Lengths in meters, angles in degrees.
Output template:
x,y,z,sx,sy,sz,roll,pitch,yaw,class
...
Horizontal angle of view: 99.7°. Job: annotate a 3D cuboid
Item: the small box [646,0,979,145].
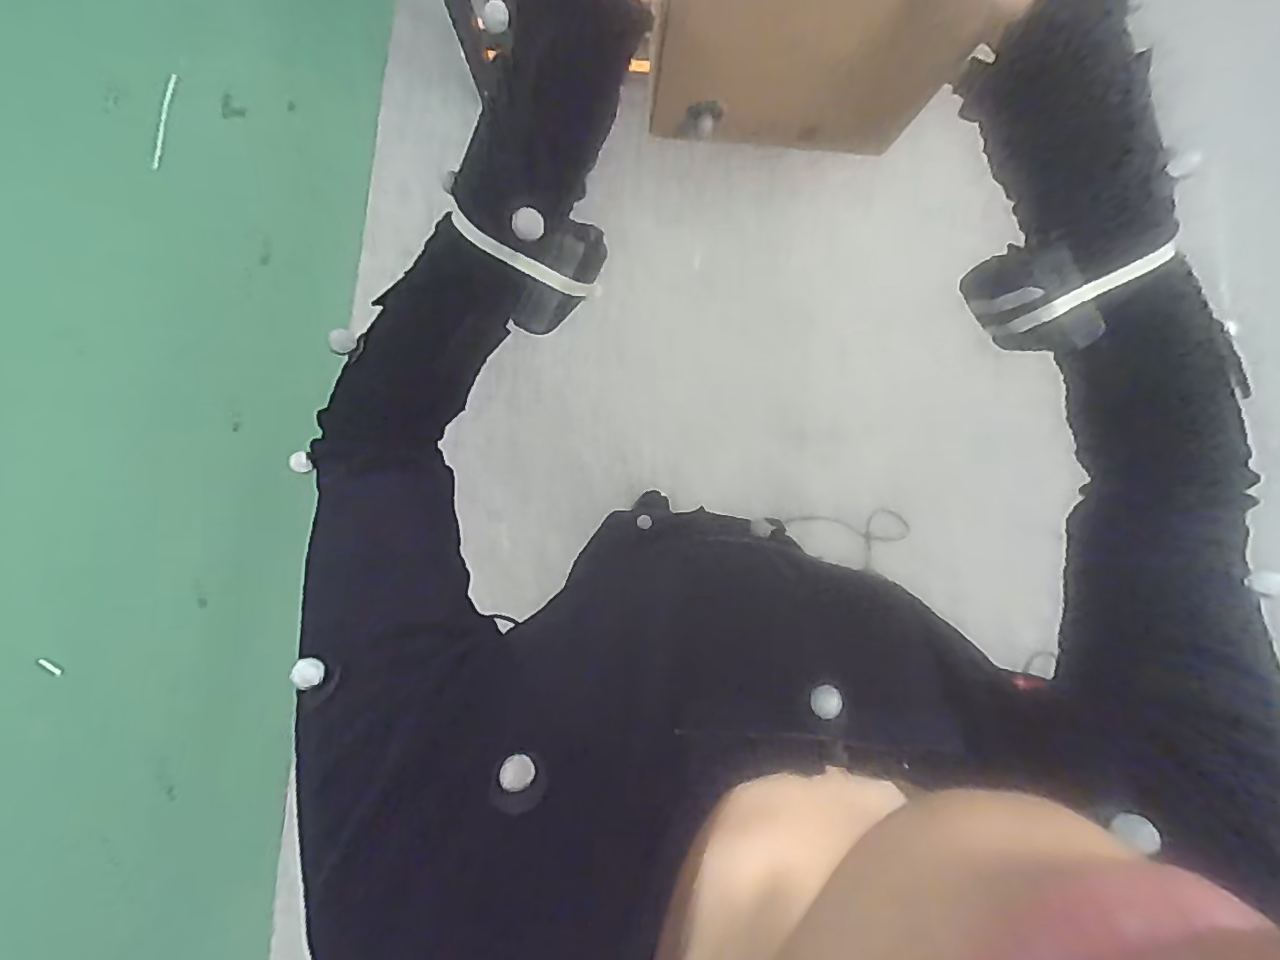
x,y,z,sx,sy,sz,roll,pitch,yaw,class
0.093,-0.317,0.291,0.168,0.176,0.179,2,88,-4,small box
